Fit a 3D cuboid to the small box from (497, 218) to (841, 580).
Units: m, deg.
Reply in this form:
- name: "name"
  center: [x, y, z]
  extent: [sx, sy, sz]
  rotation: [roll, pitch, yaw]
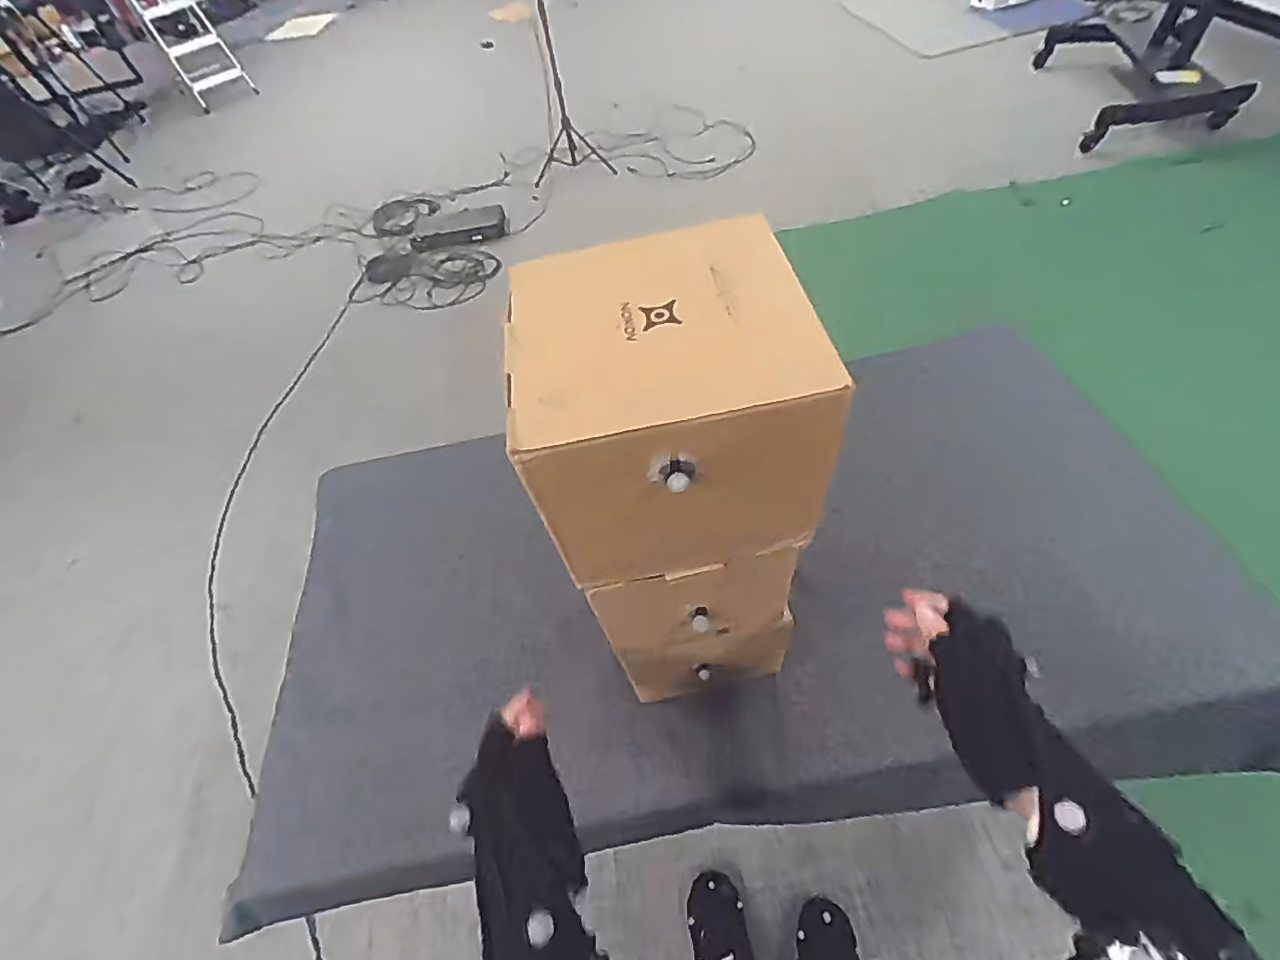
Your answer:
- name: "small box"
  center: [0.013, -0.046, 0.374]
  extent: [0.179, 0.176, 0.168]
  rotation: [-10, 55, 0]

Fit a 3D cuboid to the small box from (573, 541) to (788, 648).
- name: "small box"
  center: [0.028, 0.045, 0.509]
  extent: [0.168, 0.176, 0.179]
  rotation: [-13, 54, -1]

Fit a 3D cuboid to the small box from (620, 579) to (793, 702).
- name: "small box"
  center: [0.056, 0.142, 0.638]
  extent: [0.179, 0.176, 0.168]
  rotation: [-15, 54, -4]
